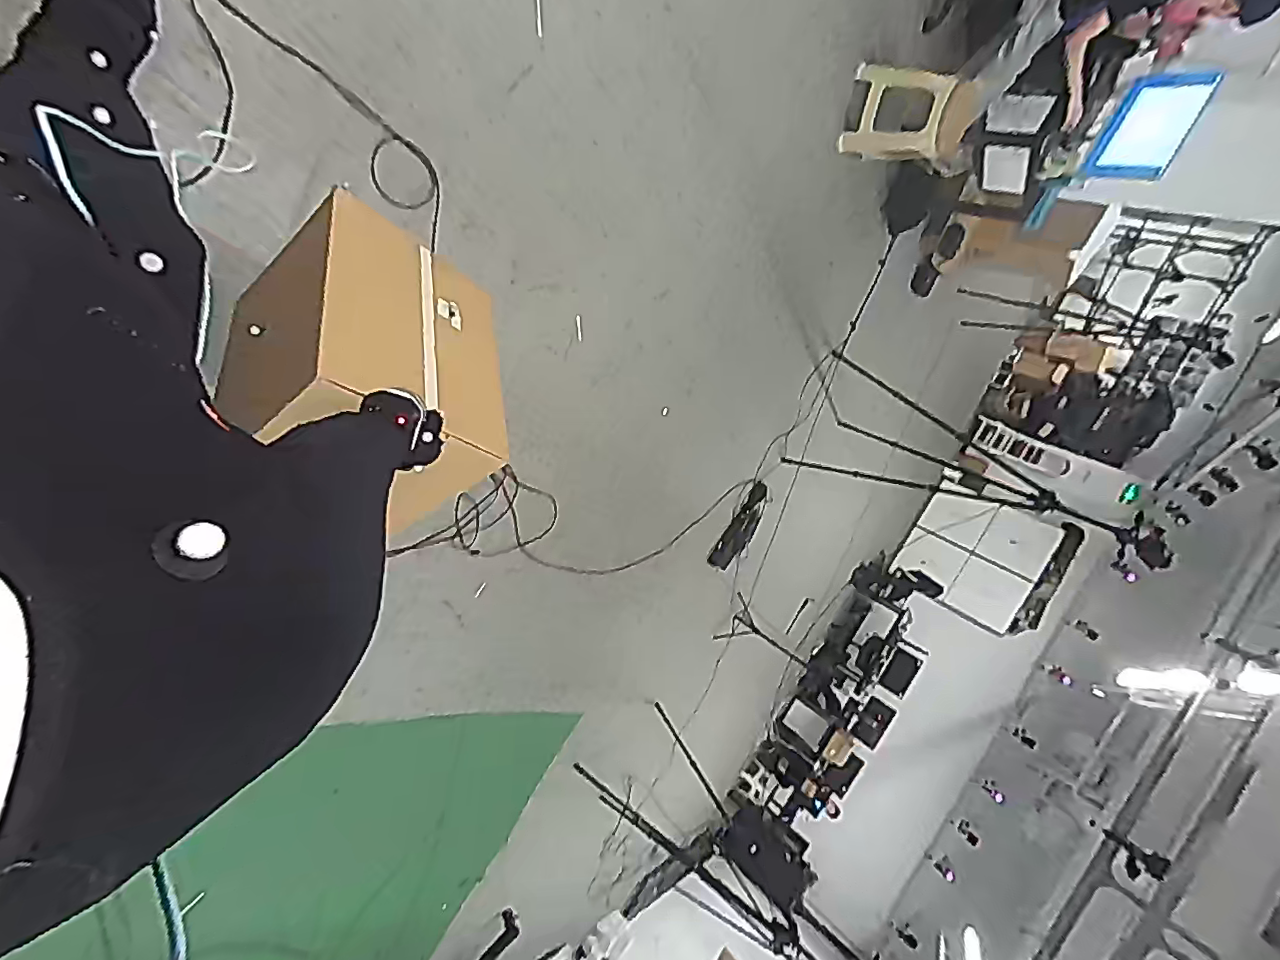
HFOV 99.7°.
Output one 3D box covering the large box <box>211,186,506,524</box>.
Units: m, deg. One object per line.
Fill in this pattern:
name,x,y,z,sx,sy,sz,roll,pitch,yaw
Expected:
large box,-0.472,-0.187,0.932,0.320,0.408,0.320,-30,148,23
